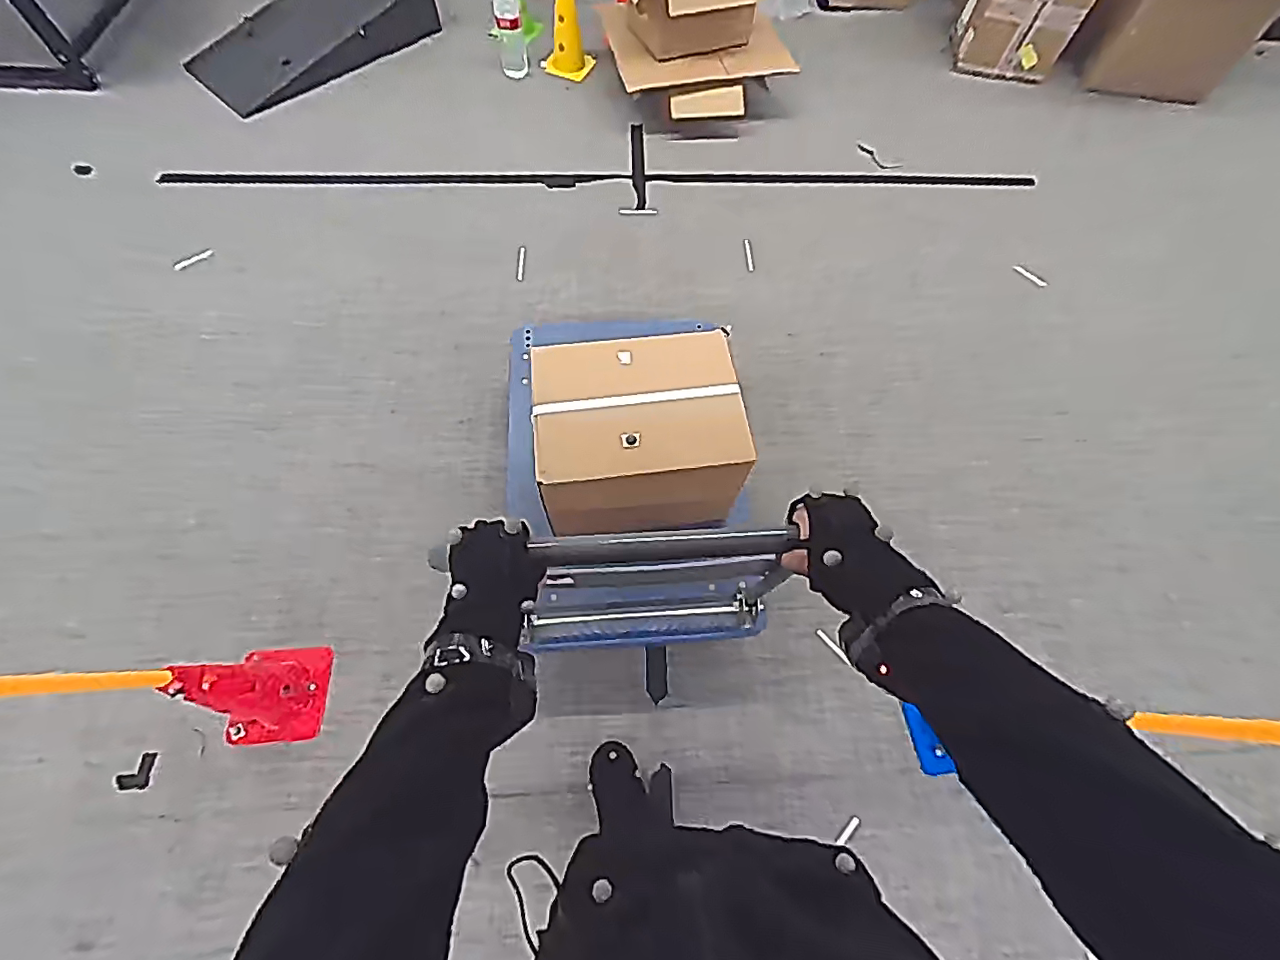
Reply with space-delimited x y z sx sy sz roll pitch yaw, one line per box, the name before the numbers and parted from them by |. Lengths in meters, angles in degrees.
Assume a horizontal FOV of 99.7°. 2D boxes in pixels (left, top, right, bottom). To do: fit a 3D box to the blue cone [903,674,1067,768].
blue cone | 0.735 0.487 1.118 0.193 0.380 0.192 -4 63 -5
